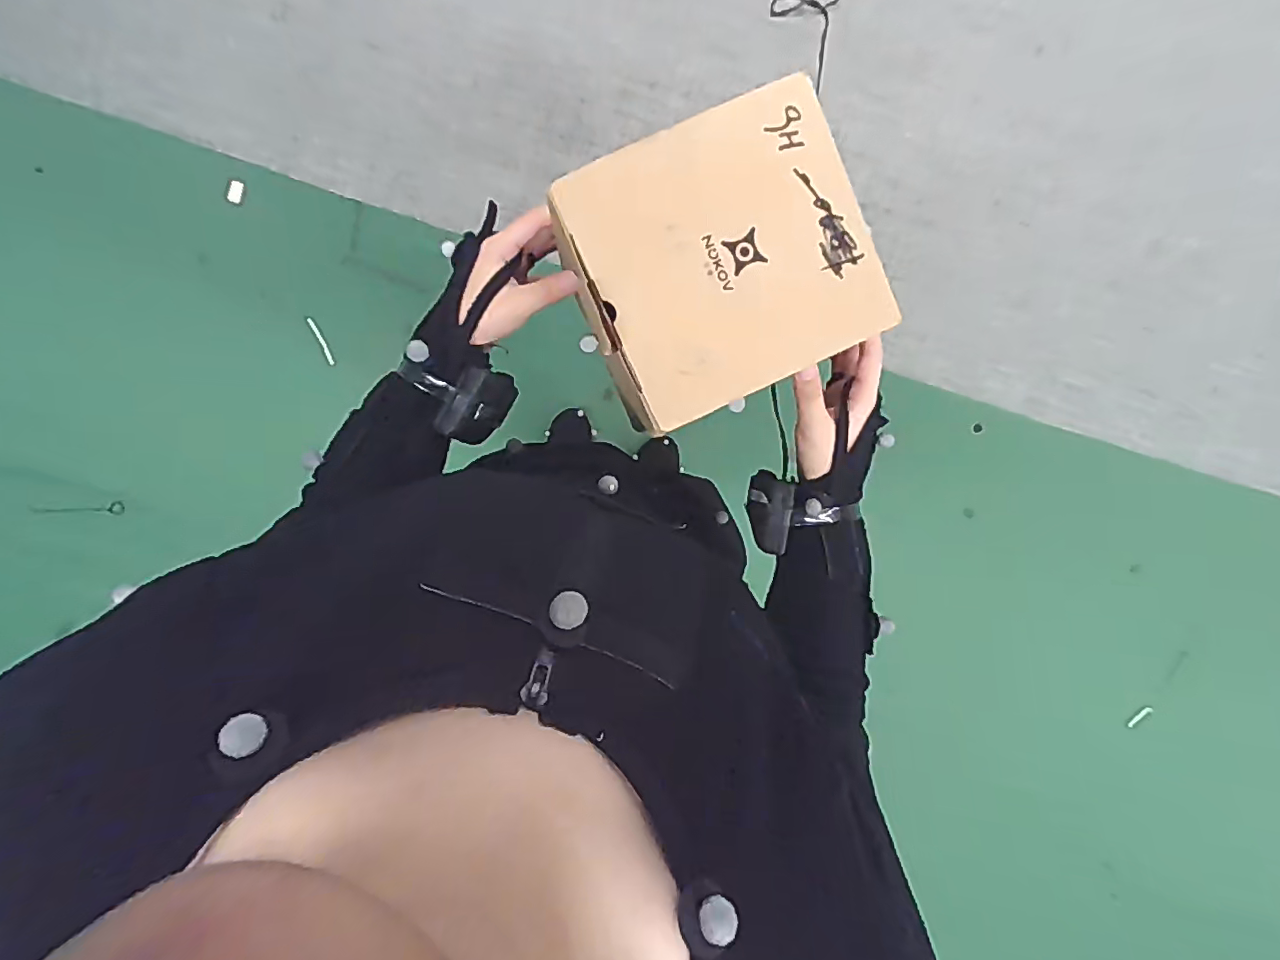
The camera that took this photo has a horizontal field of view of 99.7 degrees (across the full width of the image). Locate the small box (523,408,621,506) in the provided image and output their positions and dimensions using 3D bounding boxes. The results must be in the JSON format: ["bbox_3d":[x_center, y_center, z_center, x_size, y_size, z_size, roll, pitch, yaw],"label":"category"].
[{"bbox_3d":[-0.164,-0.053,1.313,0.179,0.176,0.168,44,90,3],"label":"small box"}]
